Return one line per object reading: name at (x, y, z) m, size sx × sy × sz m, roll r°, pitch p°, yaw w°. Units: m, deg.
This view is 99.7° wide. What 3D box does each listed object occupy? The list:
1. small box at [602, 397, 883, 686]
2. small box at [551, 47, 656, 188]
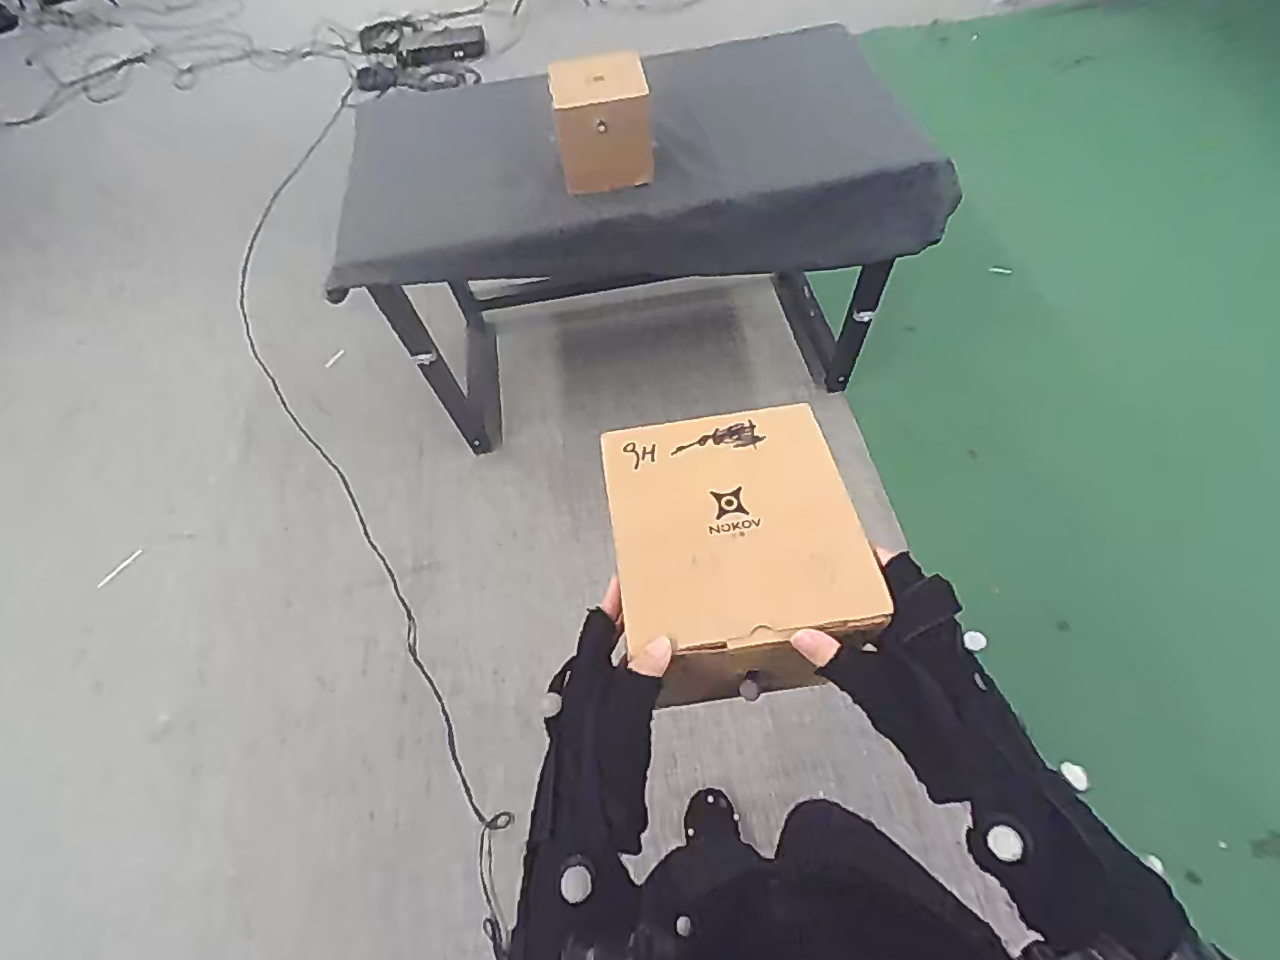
small box at (0.065, 0.061, 0.442) m, size 0.168 × 0.176 × 0.179 m, roll -8°, pitch 59°, yaw -2°
small box at (-0.067, -0.698, 1.052) m, size 0.179 × 0.176 × 0.168 m, roll -9°, pitch 62°, yaw -1°
